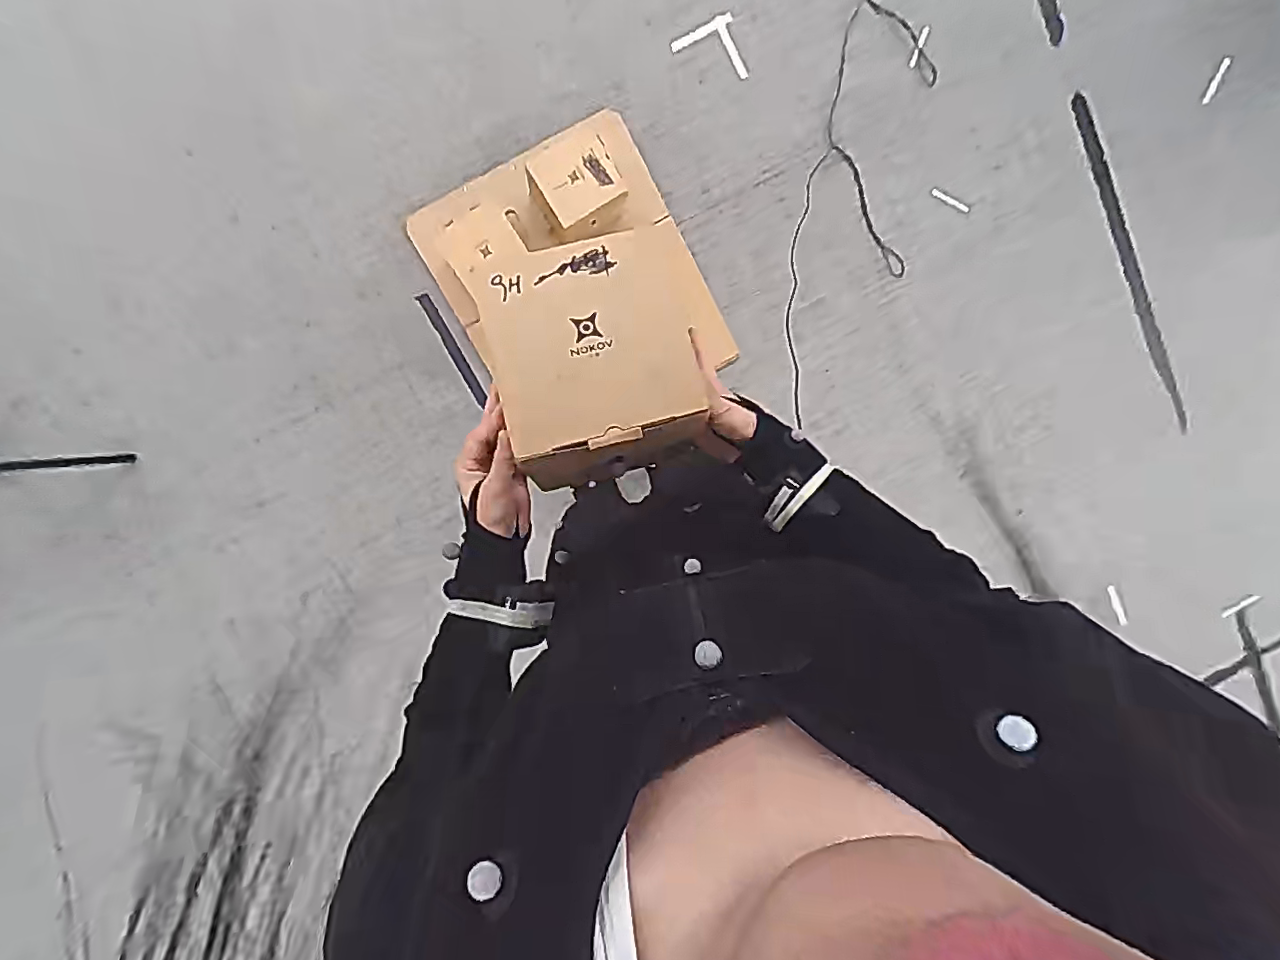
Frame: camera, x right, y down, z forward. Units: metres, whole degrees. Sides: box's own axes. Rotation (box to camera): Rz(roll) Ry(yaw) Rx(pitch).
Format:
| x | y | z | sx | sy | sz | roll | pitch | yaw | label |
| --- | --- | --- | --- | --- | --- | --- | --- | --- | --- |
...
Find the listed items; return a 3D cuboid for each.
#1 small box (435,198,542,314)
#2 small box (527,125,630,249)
| x | y | z | sx | sy | sz | roll | pitch | yaw | label |
| --- | --- | --- | --- | --- | --- | --- | --- | --- | --- |
| -0.349 | -0.519 | 1.281 | 0.168 | 0.176 | 0.179 | -35 | 101 | 0 | small box |
| -0.147 | -0.684 | 1.282 | 0.179 | 0.176 | 0.168 | -33 | 100 | -2 | small box |
